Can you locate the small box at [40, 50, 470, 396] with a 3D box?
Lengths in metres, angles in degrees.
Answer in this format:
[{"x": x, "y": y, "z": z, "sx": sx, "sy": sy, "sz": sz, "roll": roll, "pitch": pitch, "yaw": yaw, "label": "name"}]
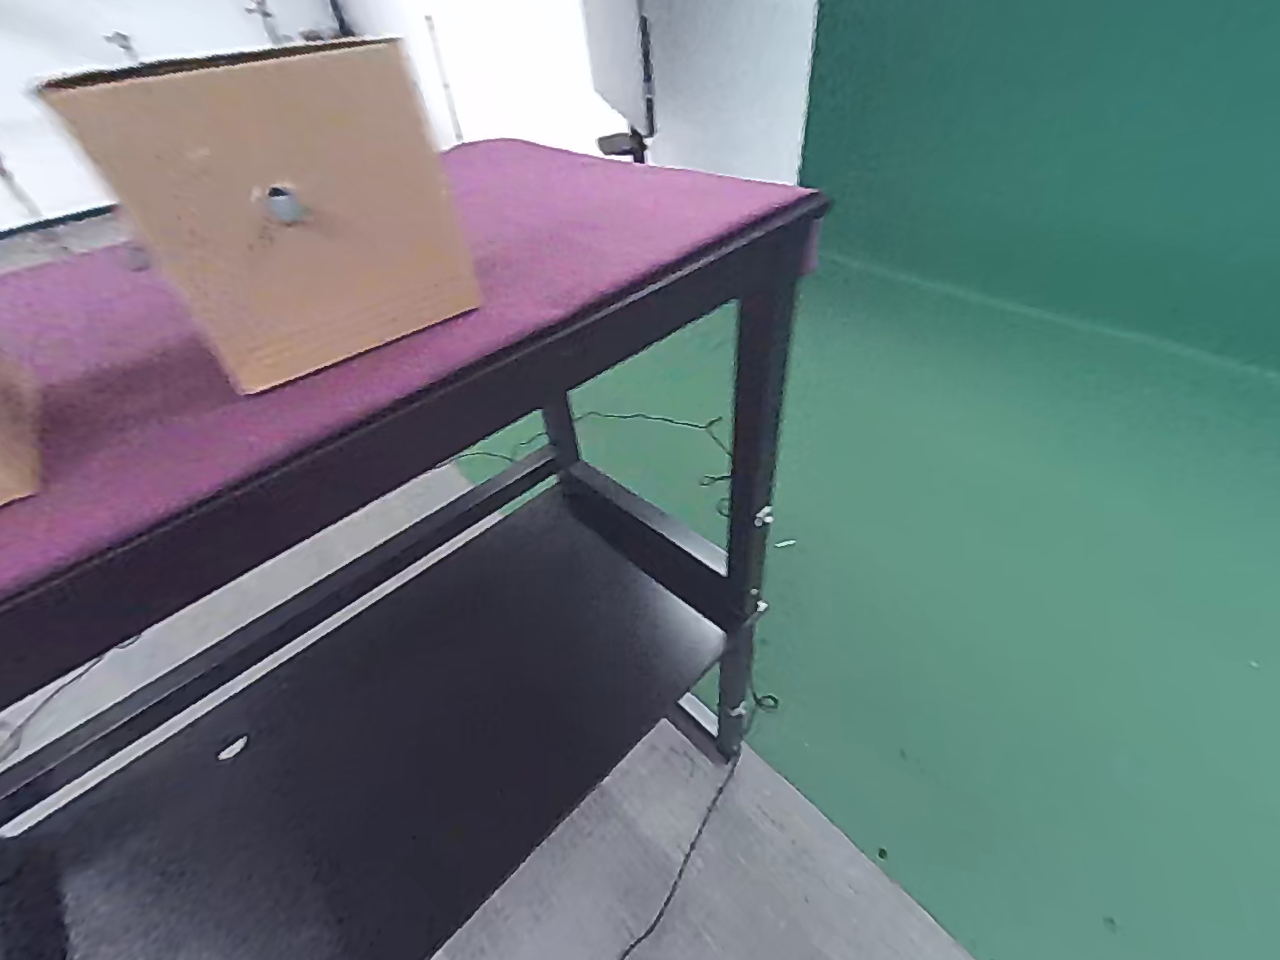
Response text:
[{"x": -0.256, "y": -0.186, "z": 0.390, "sx": 0.179, "sy": 0.176, "sz": 0.168, "roll": -35, "pitch": 49, "yaw": -25, "label": "small box"}]
